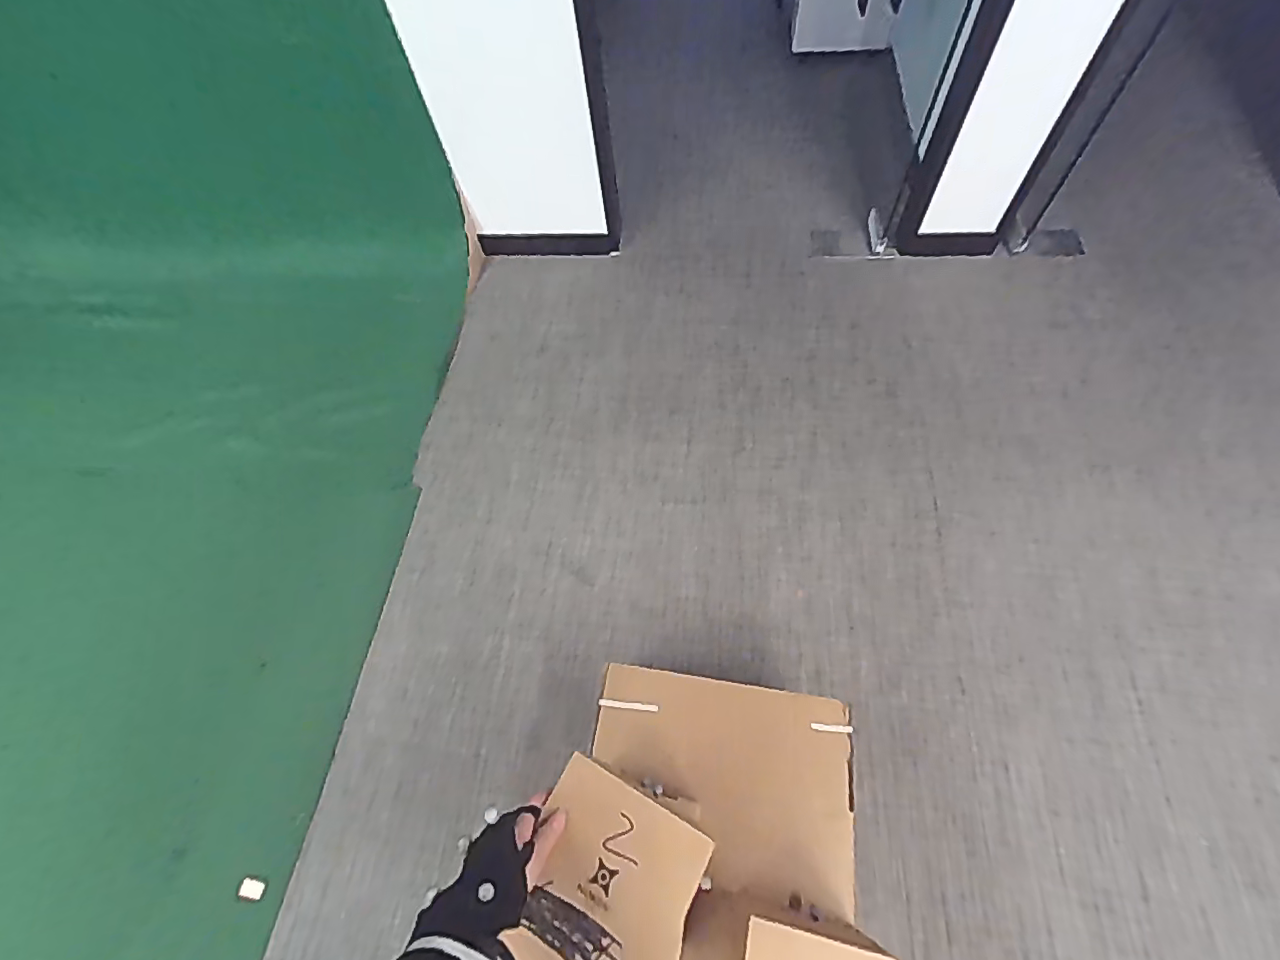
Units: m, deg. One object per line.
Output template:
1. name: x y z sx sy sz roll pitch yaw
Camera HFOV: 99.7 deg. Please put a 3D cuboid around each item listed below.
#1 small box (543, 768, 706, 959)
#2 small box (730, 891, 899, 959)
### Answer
1. small box: -0.009 0.504 0.720 0.168 0.176 0.179 9 61 11
2. small box: 0.193 0.620 0.634 0.168 0.176 0.179 10 61 9
